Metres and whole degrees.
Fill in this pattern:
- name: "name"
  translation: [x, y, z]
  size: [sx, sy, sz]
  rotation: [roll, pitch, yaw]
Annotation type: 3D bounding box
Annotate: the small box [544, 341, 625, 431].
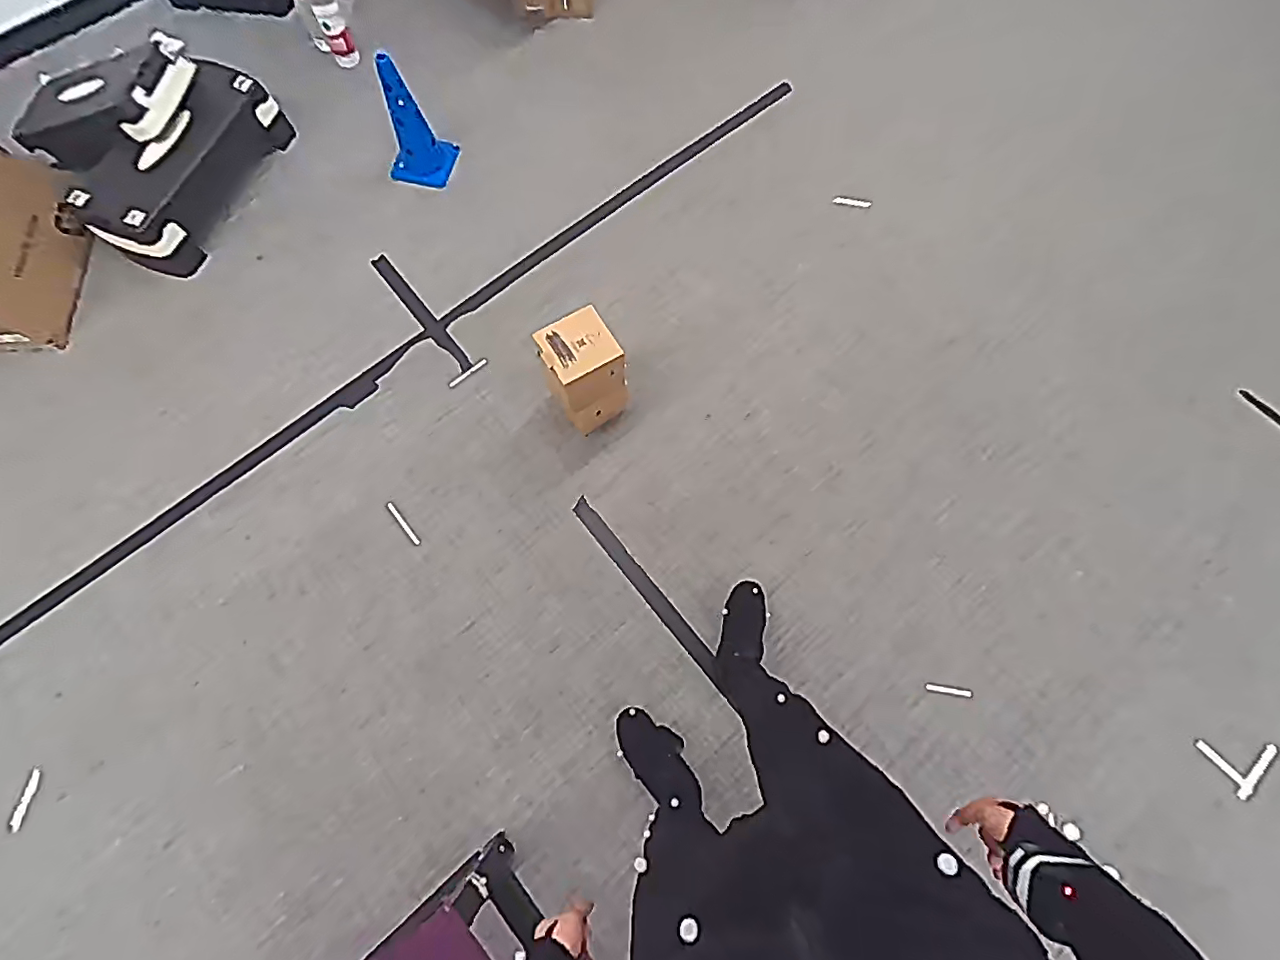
- name: "small box"
  translation: [-0.154, -0.262, 1.572]
  size: [0.168, 0.176, 0.179]
  rotation: [-35, 77, -11]
